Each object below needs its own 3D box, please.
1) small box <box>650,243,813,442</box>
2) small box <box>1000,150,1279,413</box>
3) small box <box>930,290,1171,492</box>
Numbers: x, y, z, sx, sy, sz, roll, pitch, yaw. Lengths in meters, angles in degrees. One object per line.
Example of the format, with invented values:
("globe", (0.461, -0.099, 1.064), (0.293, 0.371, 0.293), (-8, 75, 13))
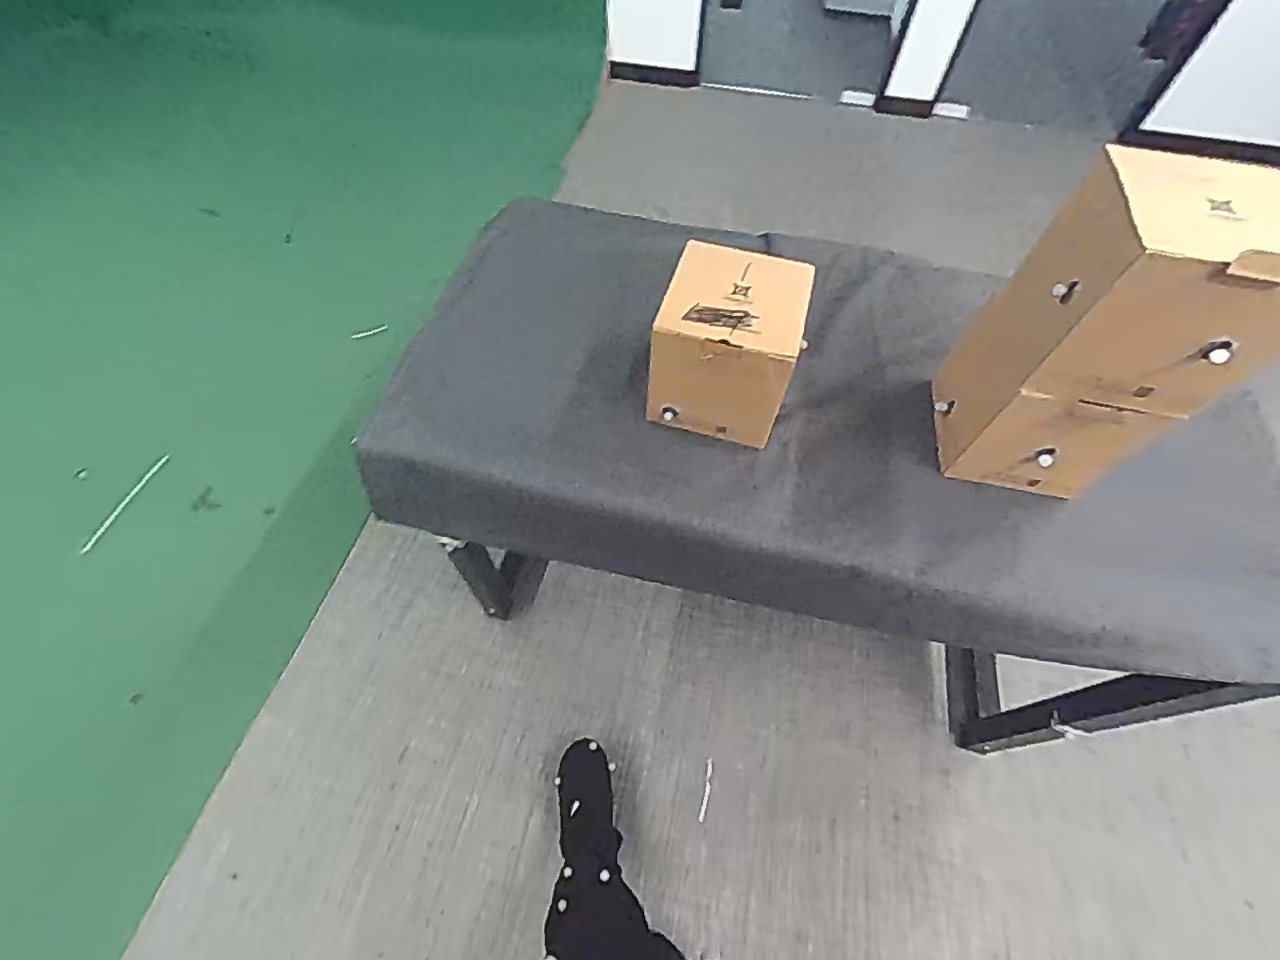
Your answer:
("small box", (0.113, -0.176, 0.715), (0.168, 0.176, 0.179), (15, 57, 8))
("small box", (0.499, -0.193, 0.544), (0.168, 0.176, 0.179), (14, 57, 6))
("small box", (0.491, -0.106, 0.682), (0.168, 0.176, 0.179), (11, 58, 5))
